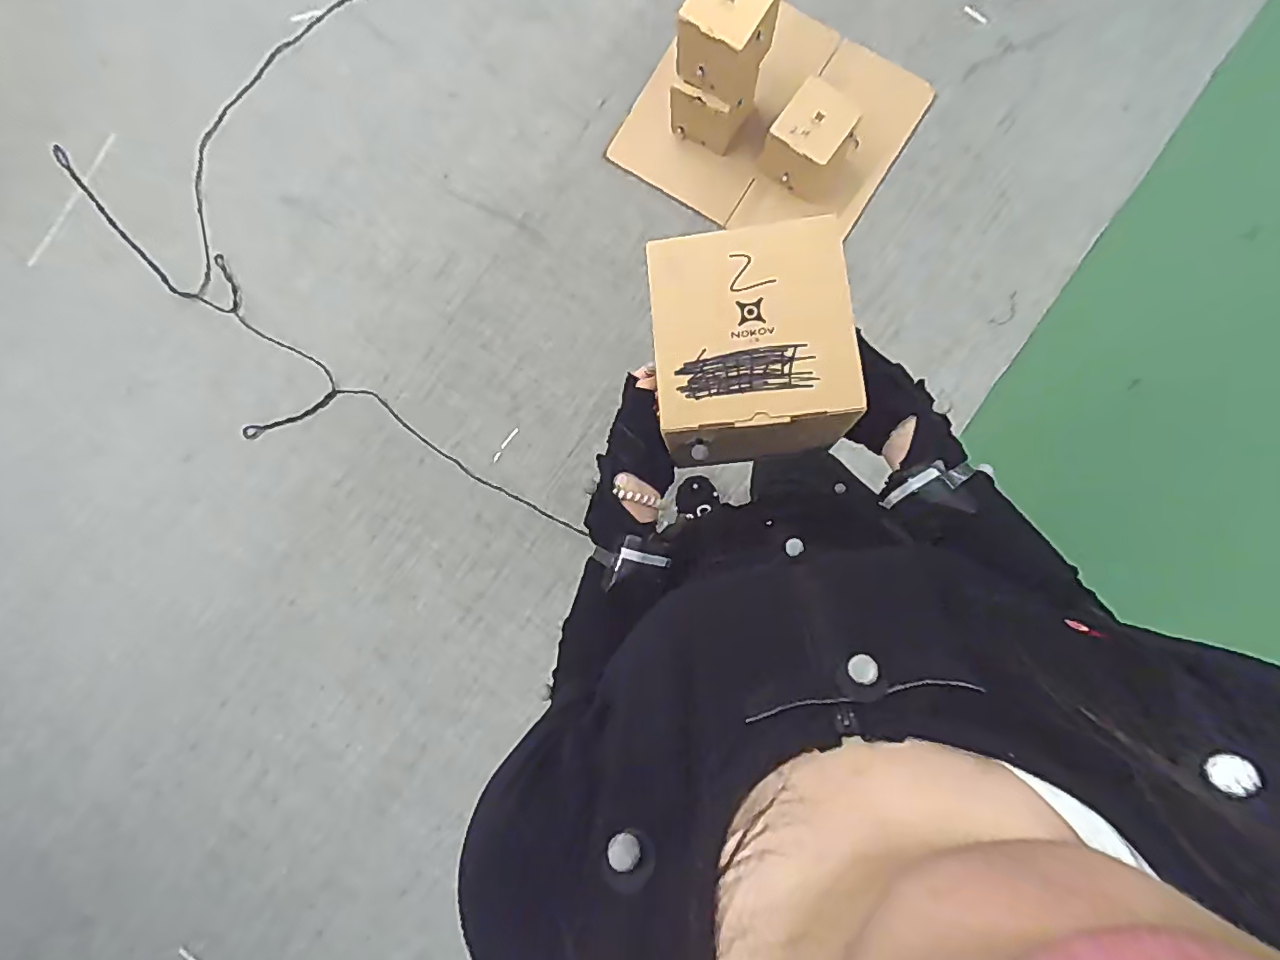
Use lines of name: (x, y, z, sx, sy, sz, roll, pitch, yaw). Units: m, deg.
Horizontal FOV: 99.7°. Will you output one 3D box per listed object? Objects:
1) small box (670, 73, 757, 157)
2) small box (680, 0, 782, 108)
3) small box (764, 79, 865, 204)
small box: (0.194, -0.998, 1.415, 0.168, 0.176, 0.179, 30, 90, 4)
small box: (0.201, -1.024, 1.252, 0.168, 0.176, 0.179, 33, 91, 4)
small box: (0.438, -0.863, 1.396, 0.168, 0.176, 0.179, 37, 92, 5)
